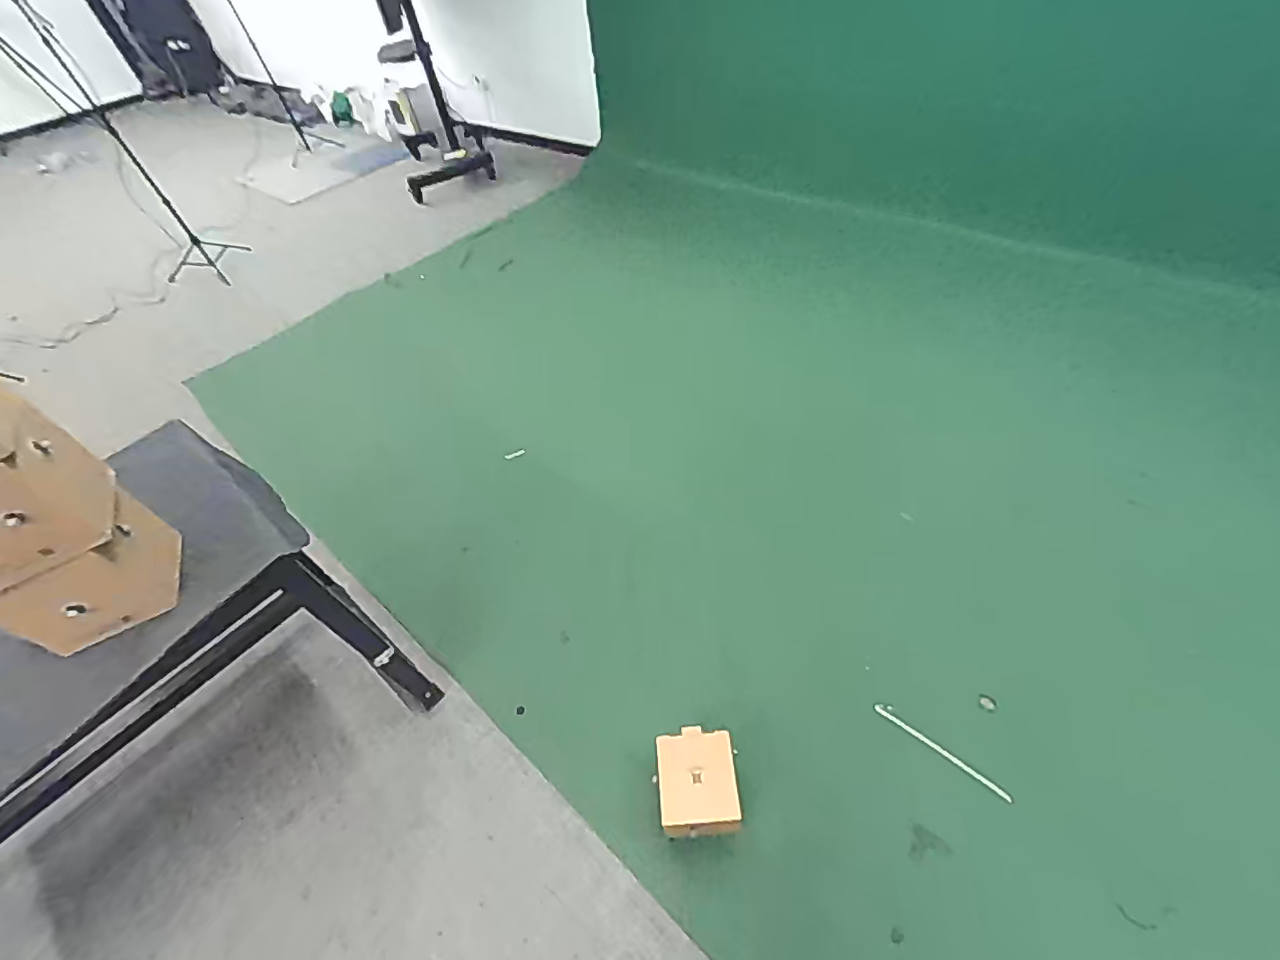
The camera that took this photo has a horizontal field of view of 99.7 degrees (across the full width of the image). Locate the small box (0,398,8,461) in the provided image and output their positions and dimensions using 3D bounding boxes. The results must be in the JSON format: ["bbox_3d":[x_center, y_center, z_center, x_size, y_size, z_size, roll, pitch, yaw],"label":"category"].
[{"bbox_3d":[-0.889,-0.079,0.612,0.168,0.176,0.179,-36,53,-21],"label":"small box"}]

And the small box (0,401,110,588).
[{"bbox_3d":[-0.879,0.031,0.734,0.168,0.176,0.179,-30,50,-18],"label":"small box"}]

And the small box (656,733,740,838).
[{"bbox_3d":[0.131,0.688,1.211,0.168,0.176,0.179,-7,49,3],"label":"small box"}]

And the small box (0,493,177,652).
[{"bbox_3d":[-0.879,0.144,0.851,0.168,0.176,0.179,-26,49,-14],"label":"small box"}]
